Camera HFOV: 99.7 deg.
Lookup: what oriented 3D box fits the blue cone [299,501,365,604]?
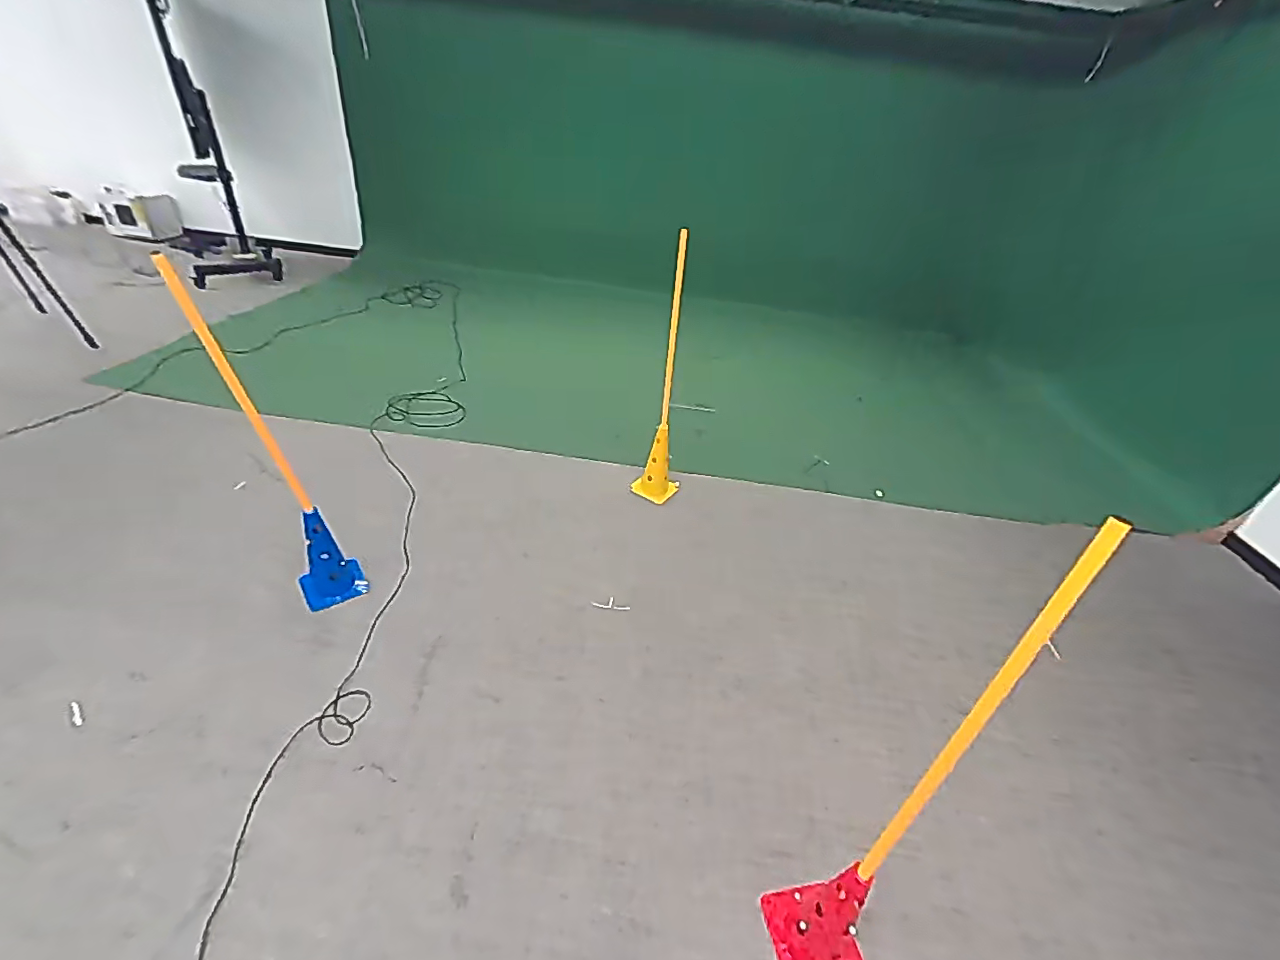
[{"bbox_3d":[-1.105,0.234,1.872,0.193,0.380,0.192,-23,46,-34],"label":"blue cone"}]
